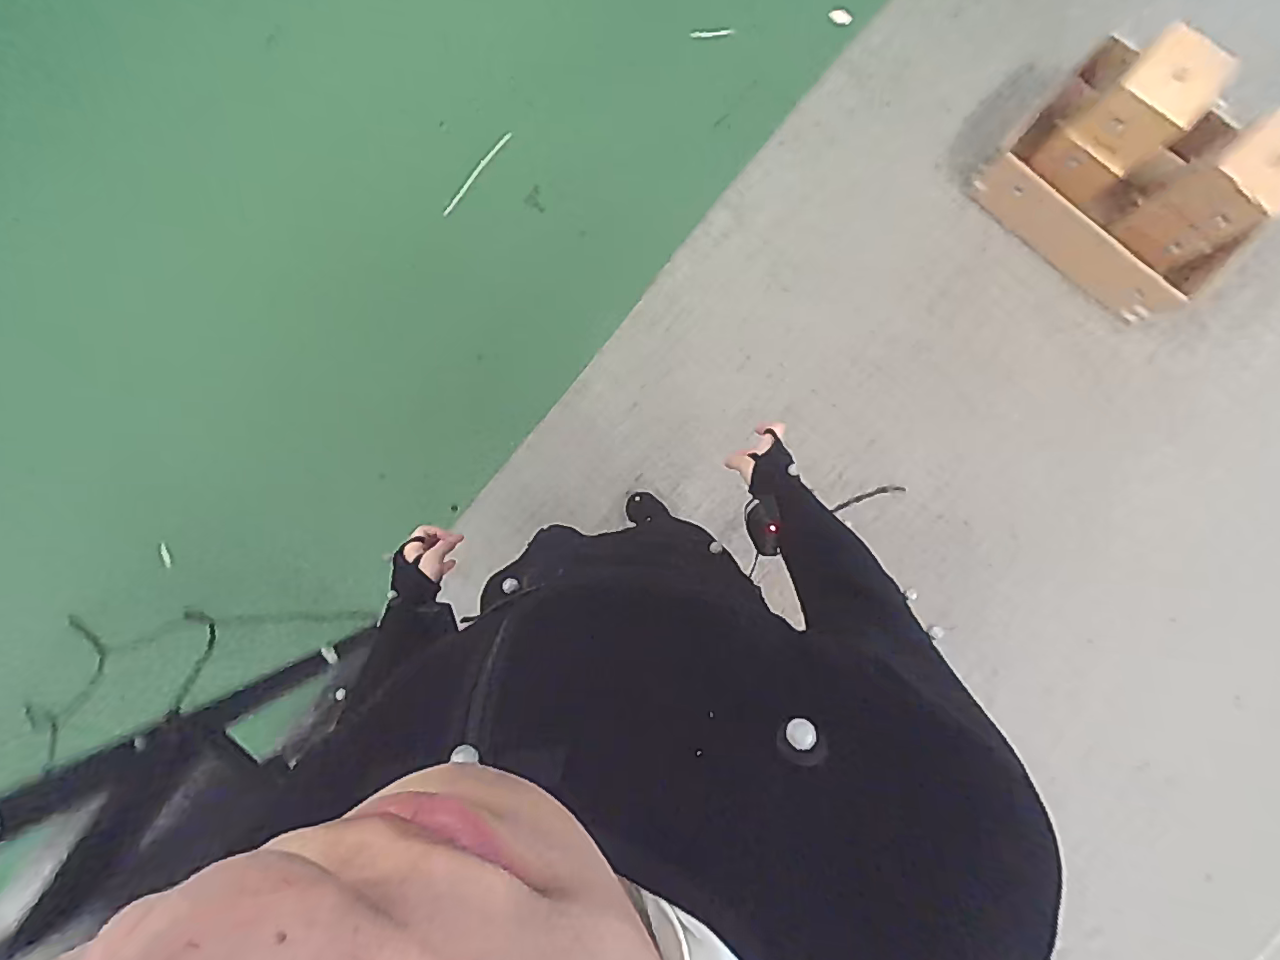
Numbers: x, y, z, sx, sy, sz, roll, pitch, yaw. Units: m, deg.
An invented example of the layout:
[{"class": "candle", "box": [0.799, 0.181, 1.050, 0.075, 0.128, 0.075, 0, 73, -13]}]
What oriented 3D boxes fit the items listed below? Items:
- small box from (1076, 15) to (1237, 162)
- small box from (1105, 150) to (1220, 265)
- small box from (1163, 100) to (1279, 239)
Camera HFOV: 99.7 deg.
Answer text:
[{"class": "small box", "box": [1.153, -0.876, 1.229, 0.168, 0.176, 0.179, 38, 93, 3]}, {"class": "small box", "box": [1.362, -0.677, 1.373, 0.179, 0.176, 0.168, 45, 94, 4]}, {"class": "small box", "box": [1.345, -0.682, 1.211, 0.168, 0.176, 0.179, 45, 94, 3]}]
